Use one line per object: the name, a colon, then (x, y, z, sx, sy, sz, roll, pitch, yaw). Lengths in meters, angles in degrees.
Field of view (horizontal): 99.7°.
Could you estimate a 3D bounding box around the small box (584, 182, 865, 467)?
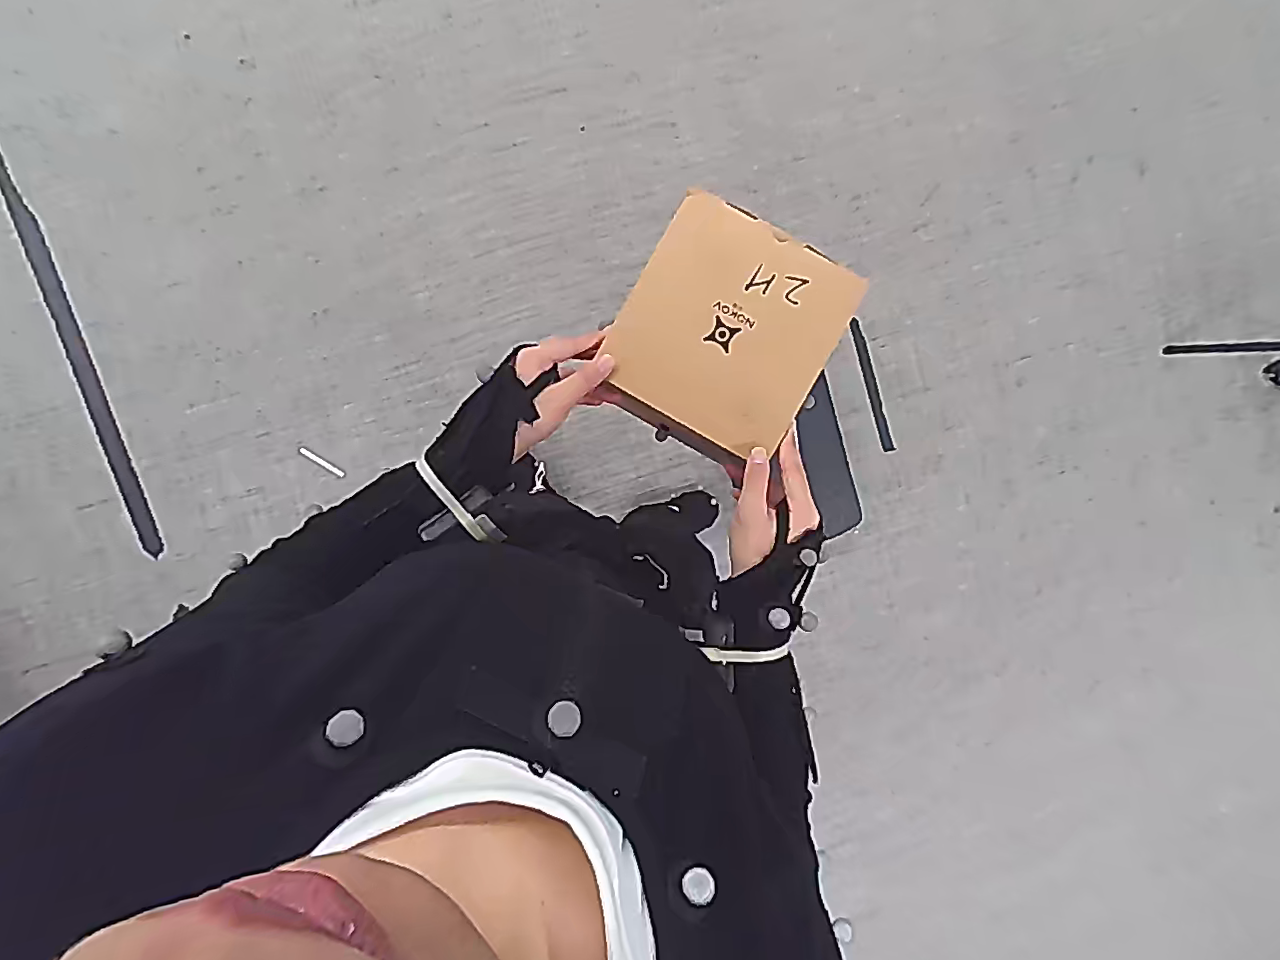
small box: (0.069, -0.123, 0.508, 0.168, 0.176, 0.179, 30, 90, 1)
